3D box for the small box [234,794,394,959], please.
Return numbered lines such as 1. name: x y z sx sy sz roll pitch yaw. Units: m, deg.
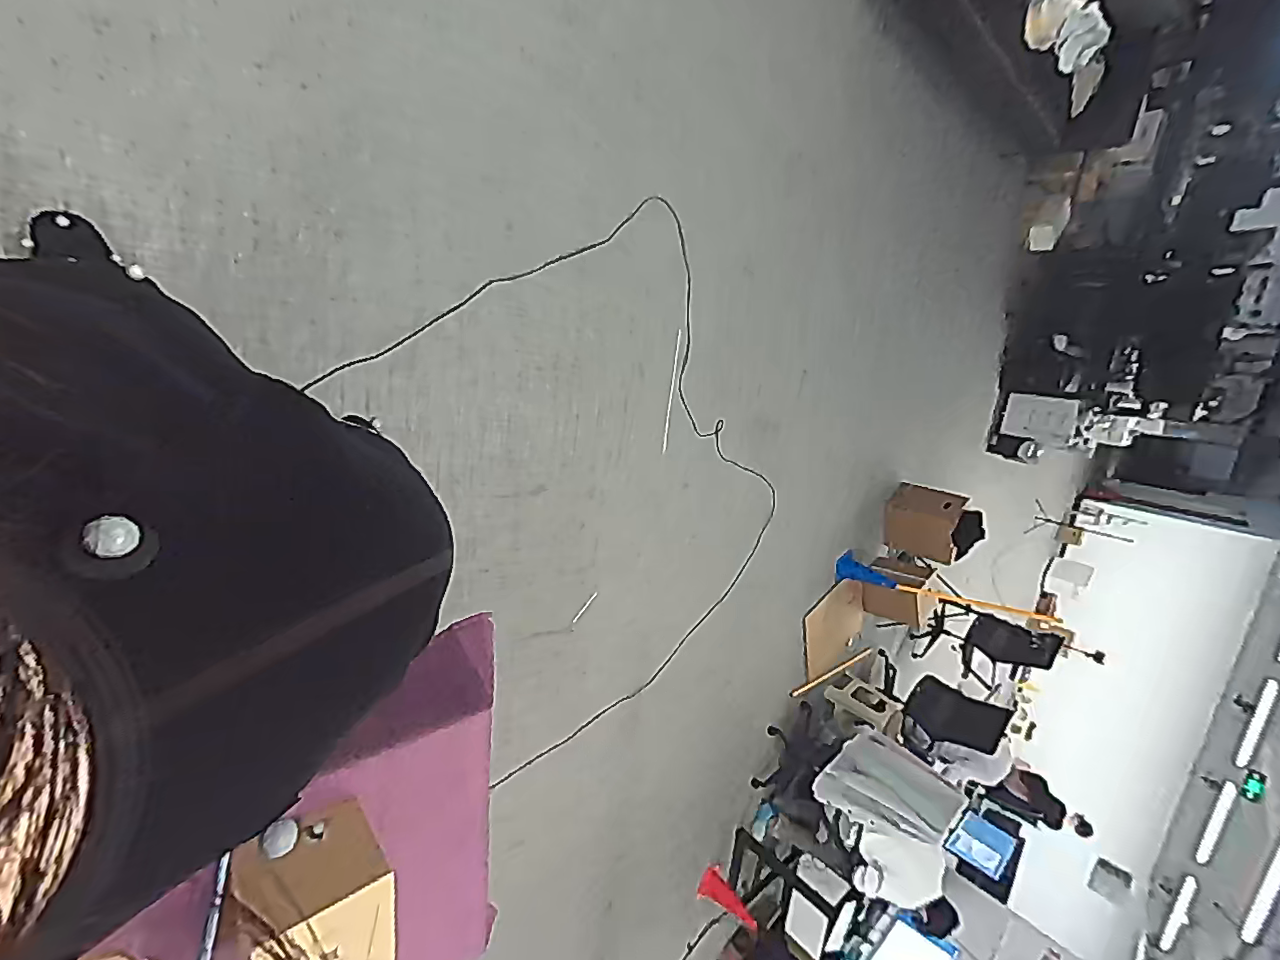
1. small box: -0.469 0.606 0.779 0.168 0.176 0.179 -7 108 -43
